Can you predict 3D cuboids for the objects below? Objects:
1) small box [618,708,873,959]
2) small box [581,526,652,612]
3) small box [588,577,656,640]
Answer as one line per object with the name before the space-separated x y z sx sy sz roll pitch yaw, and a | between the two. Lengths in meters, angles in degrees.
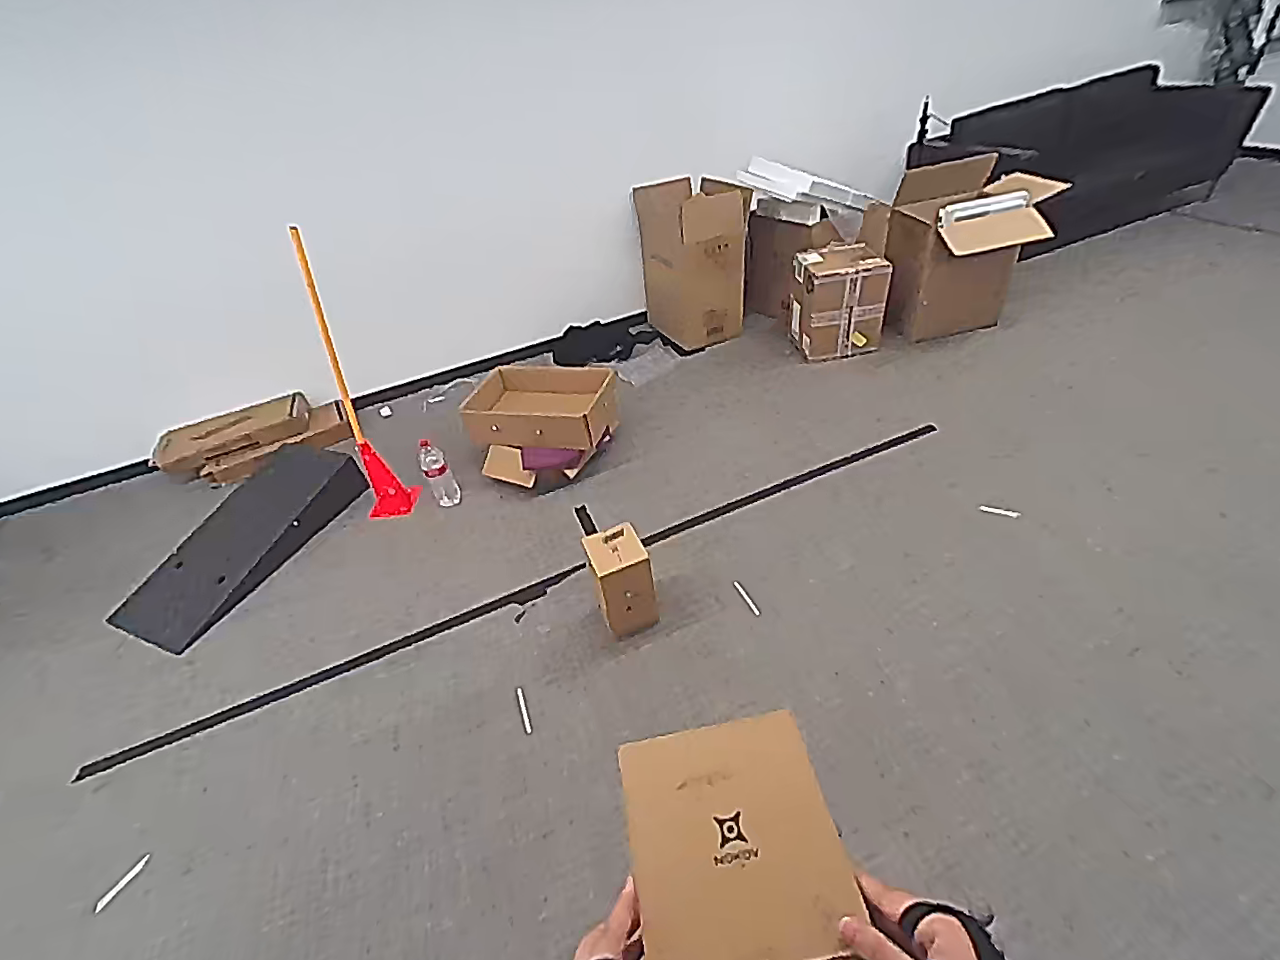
small box | 0.080 0.342 0.489 0.168 0.176 0.179 -10 42 -5
small box | -0.073 0.281 1.702 0.168 0.176 0.179 -20 41 -13
small box | -0.058 0.405 1.810 0.179 0.176 0.168 -19 41 -13
